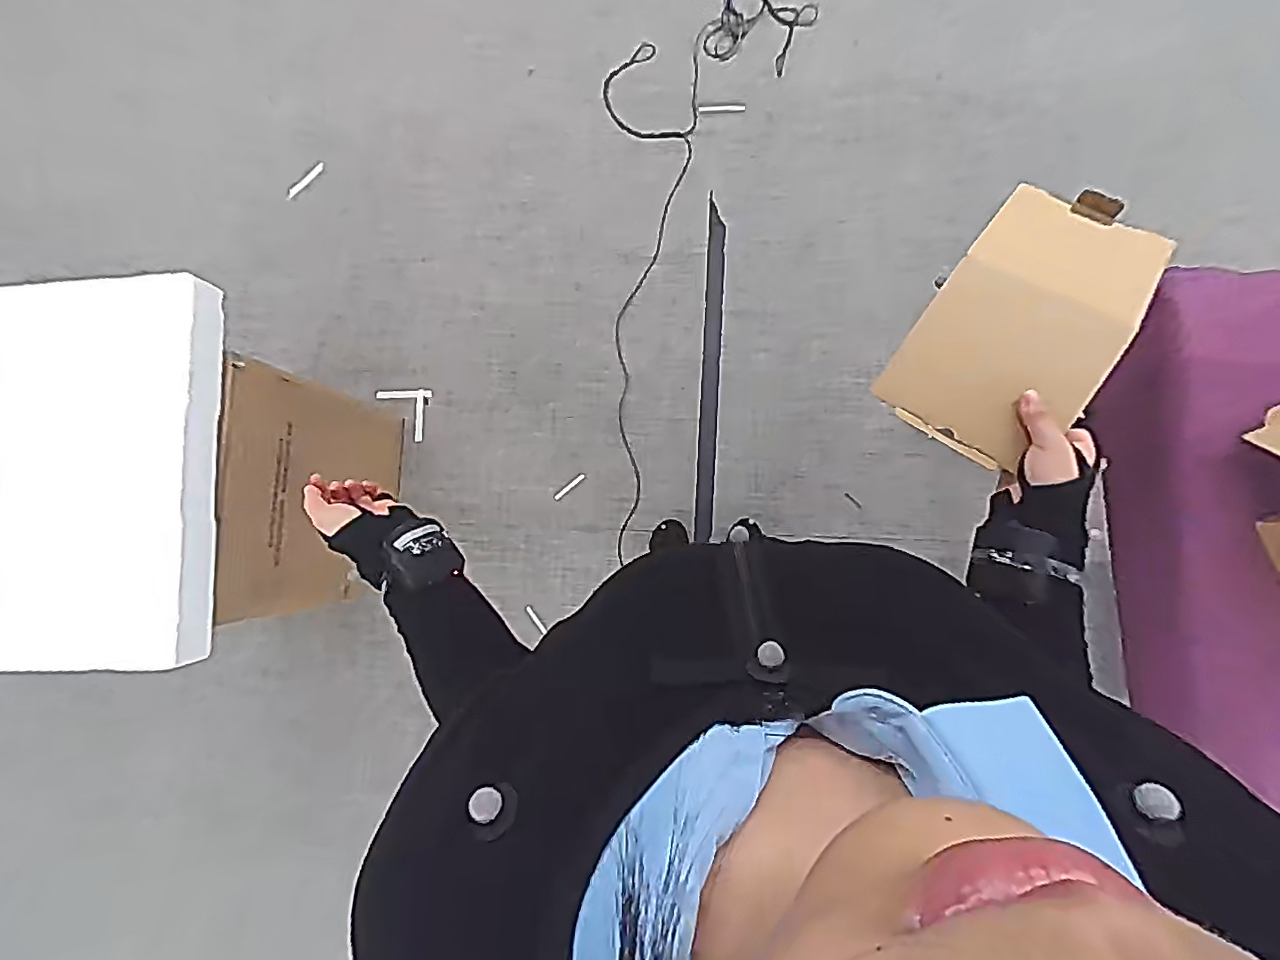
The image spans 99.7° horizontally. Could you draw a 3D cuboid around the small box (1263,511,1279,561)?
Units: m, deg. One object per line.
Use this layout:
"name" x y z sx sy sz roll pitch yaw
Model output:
"small box" 0.909 0.093 0.622 0.168 0.176 0.179 -21 84 4
